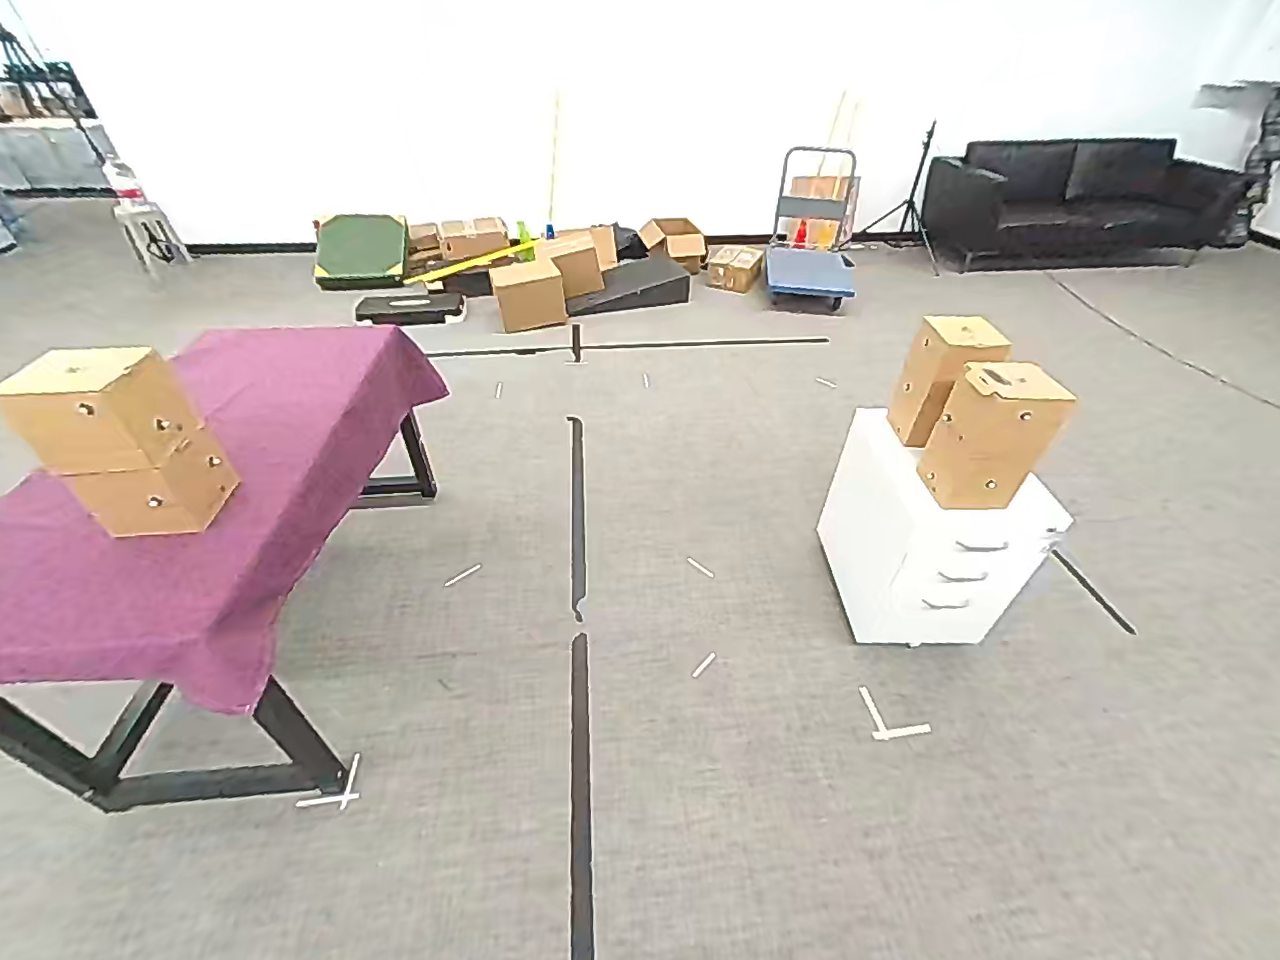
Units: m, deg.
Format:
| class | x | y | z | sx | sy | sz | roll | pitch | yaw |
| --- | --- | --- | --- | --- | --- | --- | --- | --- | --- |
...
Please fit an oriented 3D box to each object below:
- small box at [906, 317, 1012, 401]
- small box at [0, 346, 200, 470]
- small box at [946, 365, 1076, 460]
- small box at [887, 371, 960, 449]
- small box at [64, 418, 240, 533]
| class | x | y | z | sx | sy | sz | roll | pitch | yaw |
| --- | --- | --- | --- | --- | --- | --- | --- | --- | --- |
| small box | 0.860 | -0.330 | 1.480 | 0.168 | 0.176 | 0.179 | 1 | 41 | 0 |
| small box | -0.967 | -0.130 | 0.986 | 0.179 | 0.176 | 0.168 | -4 | 39 | -7 |
| small box | 0.861 | -0.160 | 1.282 | 0.179 | 0.176 | 0.168 | 0 | 40 | -3 |
| small box | 0.861 | -0.204 | 1.587 | 0.179 | 0.176 | 0.168 | 2 | 41 | -1 |
| small box | -0.965 | -0.009 | 1.094 | 0.179 | 0.176 | 0.168 | -3 | 40 | -5 |
